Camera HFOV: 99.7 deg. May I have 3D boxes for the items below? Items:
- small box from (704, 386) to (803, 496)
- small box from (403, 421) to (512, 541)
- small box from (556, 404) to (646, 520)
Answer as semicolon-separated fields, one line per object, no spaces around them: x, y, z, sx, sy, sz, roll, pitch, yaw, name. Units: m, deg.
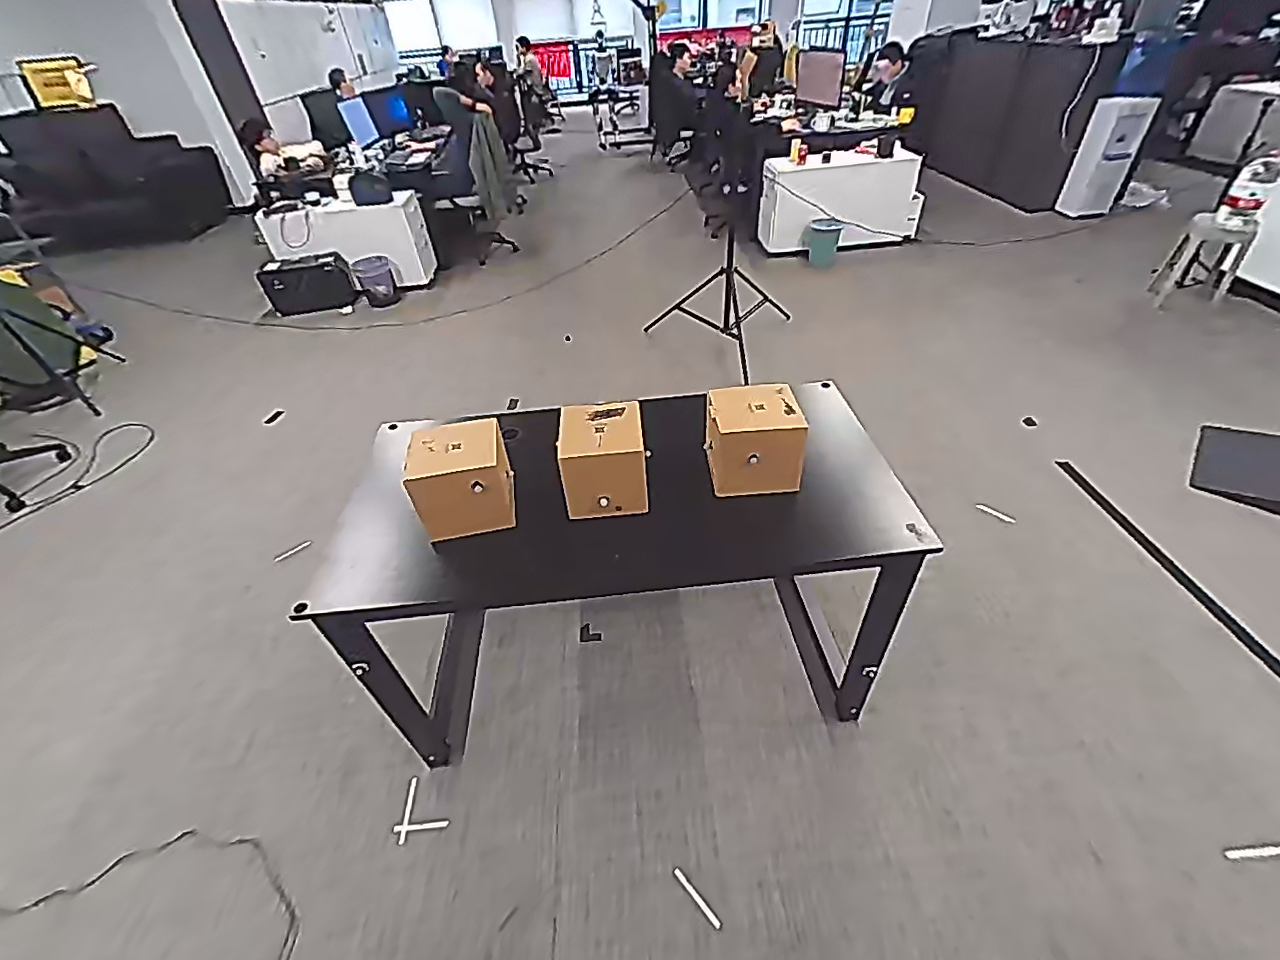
0.234;-0.080;1.153;0.179;0.176;0.168;-5;41;1;small box
-0.364;0.002;1.116;0.179;0.176;0.168;-11;41;-6;small box
-0.078;-0.038;1.136;0.168;0.176;0.179;-5;42;0;small box
